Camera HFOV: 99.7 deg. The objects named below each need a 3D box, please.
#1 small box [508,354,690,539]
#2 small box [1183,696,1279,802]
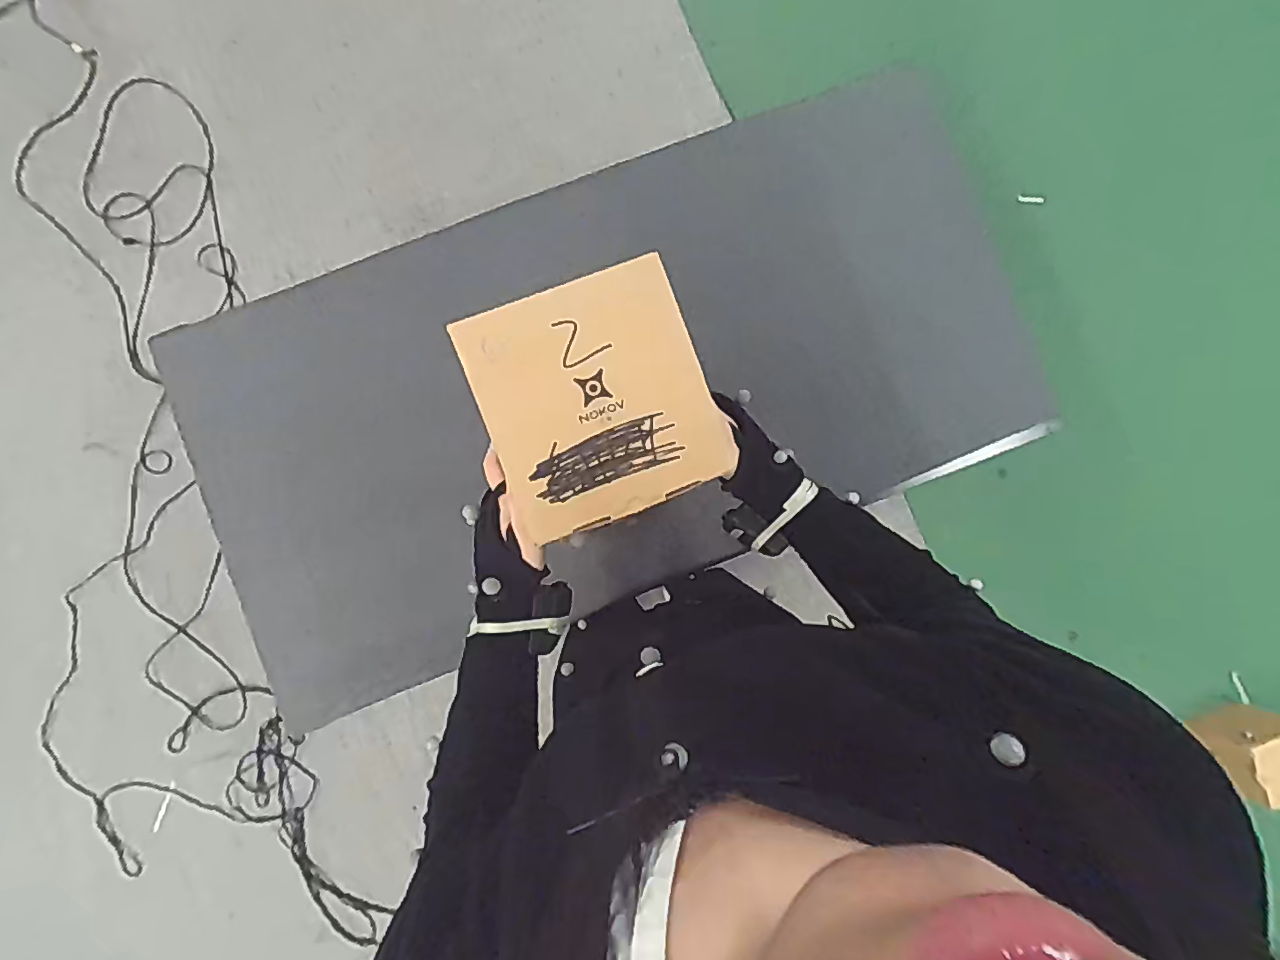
[{"bbox_3d":[-0.050,-0.036,0.708,0.168,0.176,0.179,-24,88,-1],"label":"small box"},{"bbox_3d":[1.628,0.704,1.437,0.179,0.176,0.168,-21,89,-1],"label":"small box"}]
